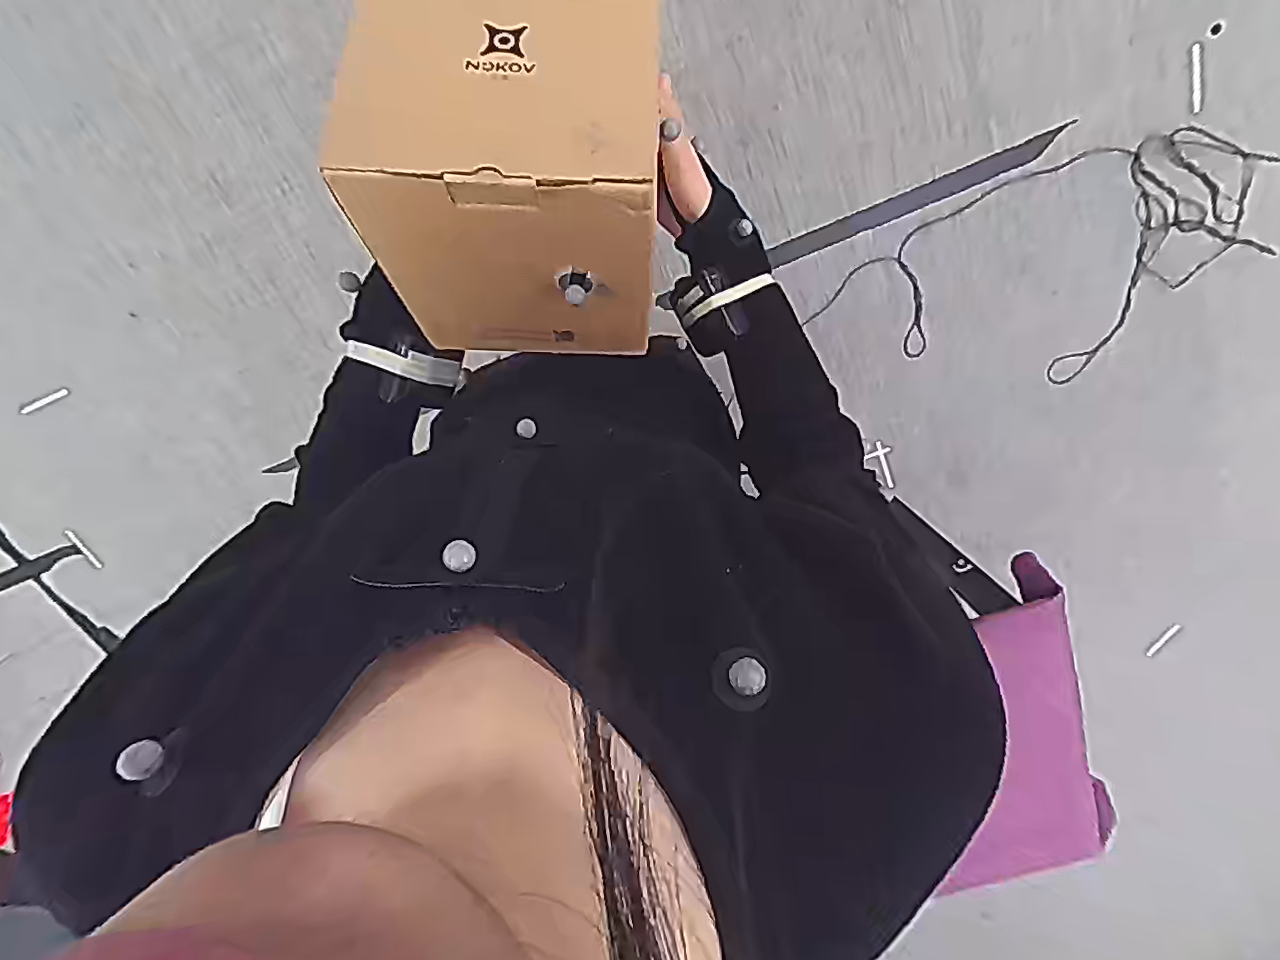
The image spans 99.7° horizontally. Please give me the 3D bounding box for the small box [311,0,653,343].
[{"bbox_3d":[-0.077,-0.208,0.358,0.168,0.176,0.179,1,73,-2],"label":"small box"}]
